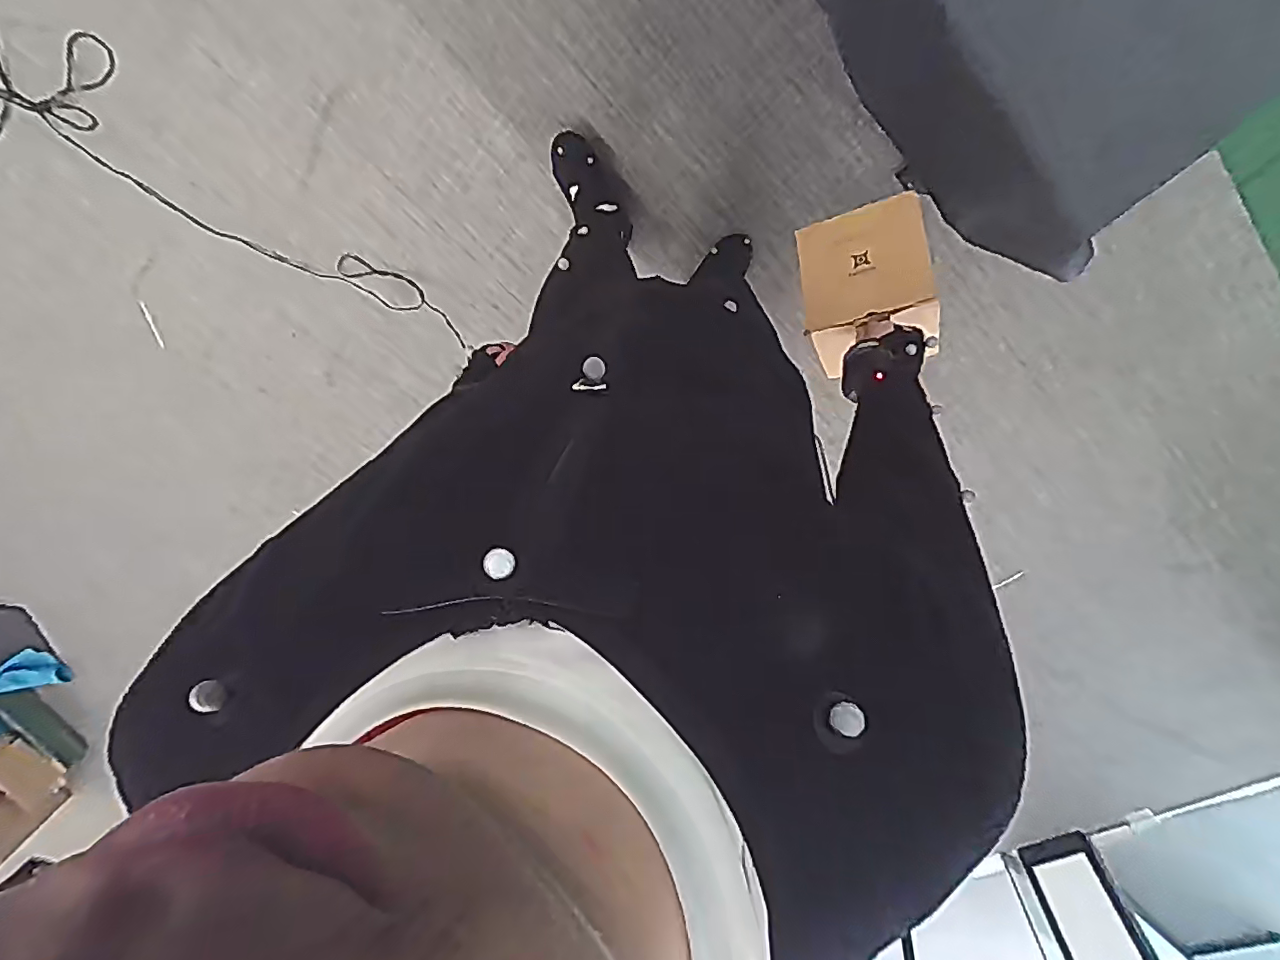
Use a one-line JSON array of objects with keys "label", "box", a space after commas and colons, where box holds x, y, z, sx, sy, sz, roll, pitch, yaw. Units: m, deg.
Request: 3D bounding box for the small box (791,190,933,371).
[{"label": "small box", "box": [0.334, -0.279, 0.806, 0.168, 0.179, 0.176, -10, 162, 25]}]
